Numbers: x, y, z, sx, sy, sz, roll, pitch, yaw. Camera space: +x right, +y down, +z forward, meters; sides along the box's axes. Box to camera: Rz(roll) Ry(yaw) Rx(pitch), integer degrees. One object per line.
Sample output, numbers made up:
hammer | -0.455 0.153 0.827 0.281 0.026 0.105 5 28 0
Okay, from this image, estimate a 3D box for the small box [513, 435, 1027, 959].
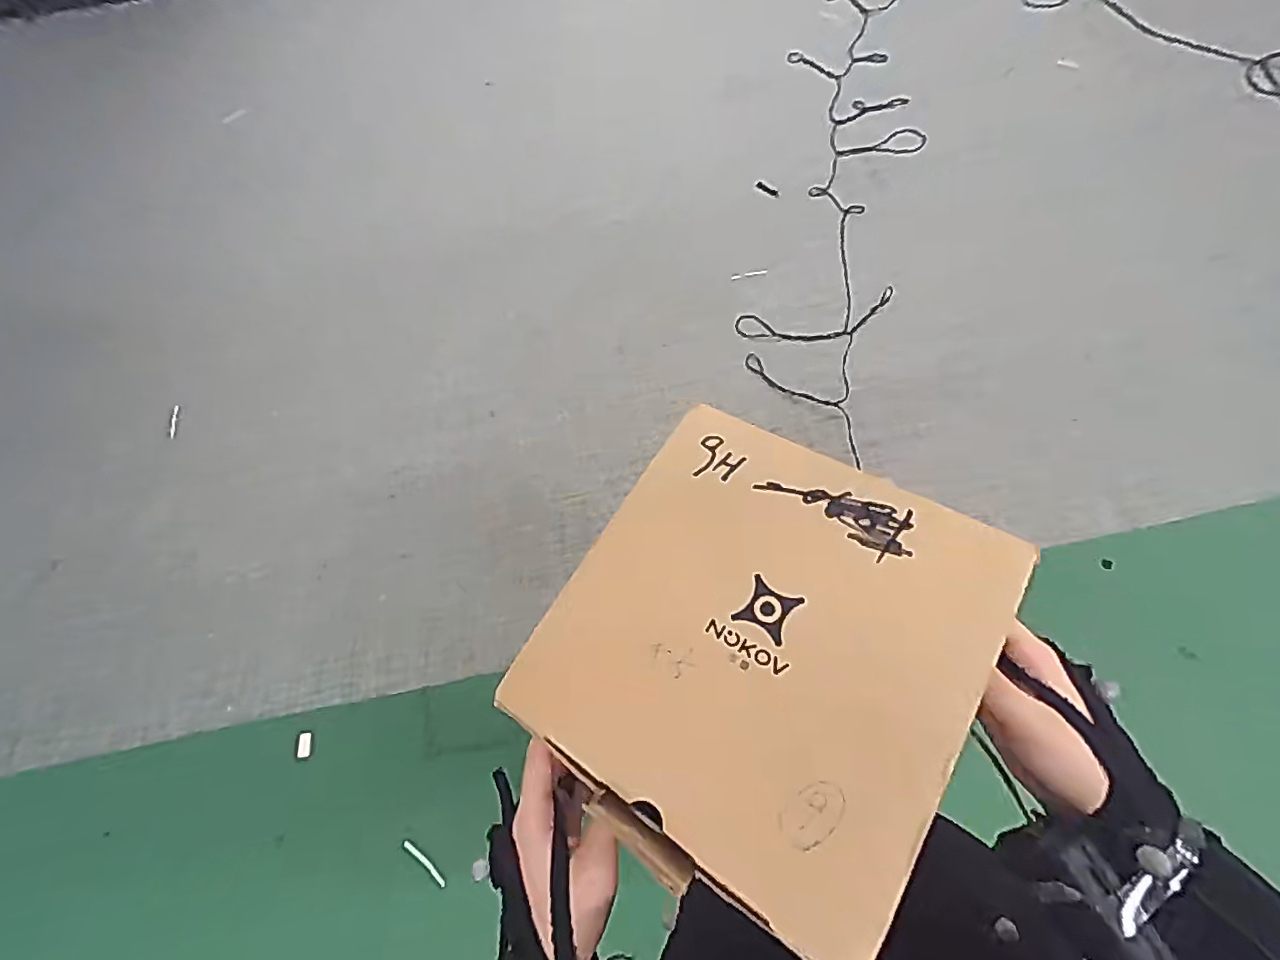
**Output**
small box | 0.069 0.112 0.306 0.168 0.176 0.179 27 72 24
